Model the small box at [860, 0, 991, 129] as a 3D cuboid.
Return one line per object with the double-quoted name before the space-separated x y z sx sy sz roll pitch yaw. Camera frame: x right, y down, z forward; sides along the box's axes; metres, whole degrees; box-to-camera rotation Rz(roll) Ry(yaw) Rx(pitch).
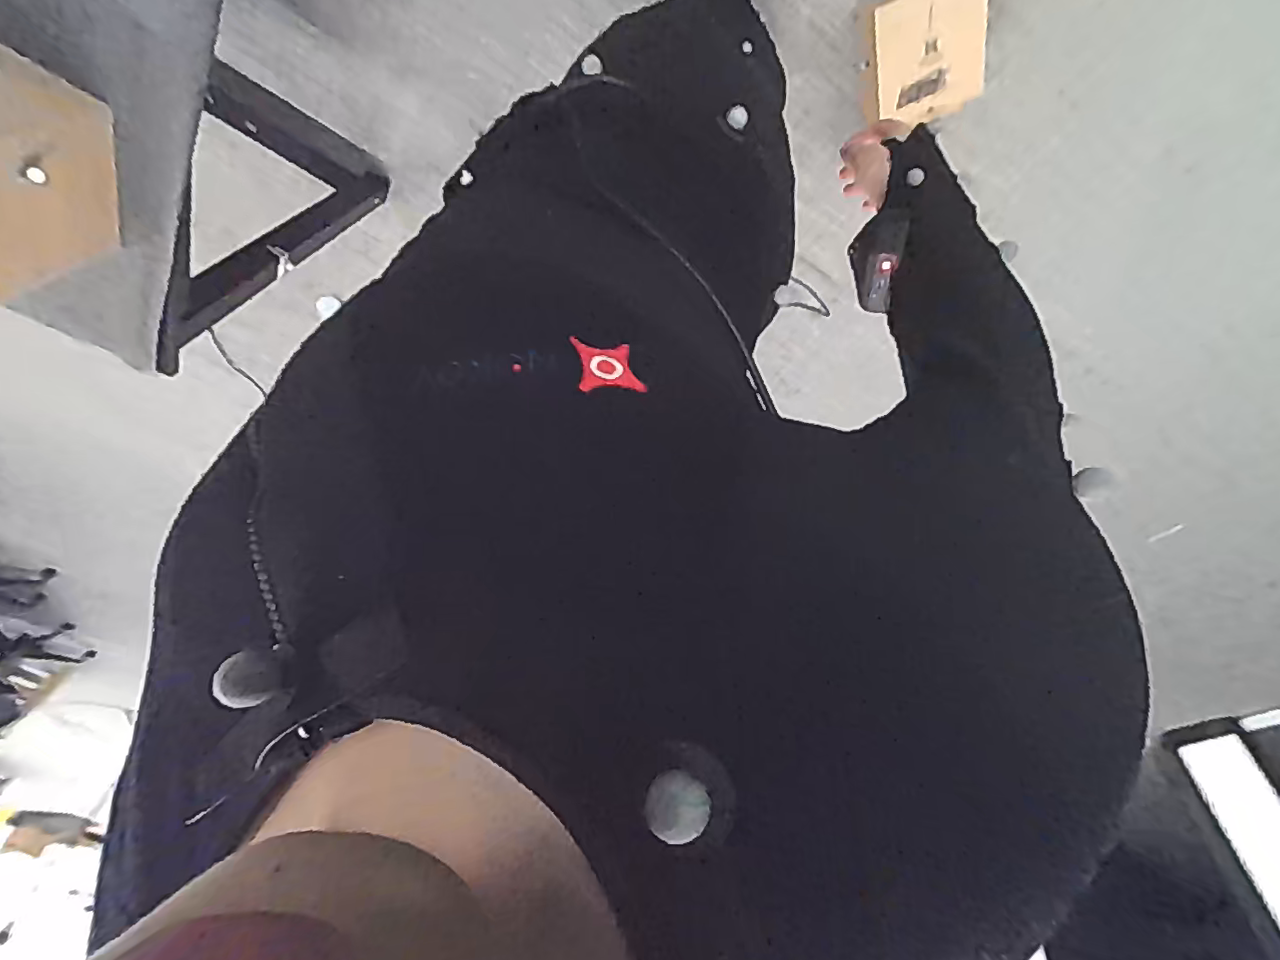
"small box" 0.489 -0.754 0.944 0.168 0.176 0.179 -10 130 18
